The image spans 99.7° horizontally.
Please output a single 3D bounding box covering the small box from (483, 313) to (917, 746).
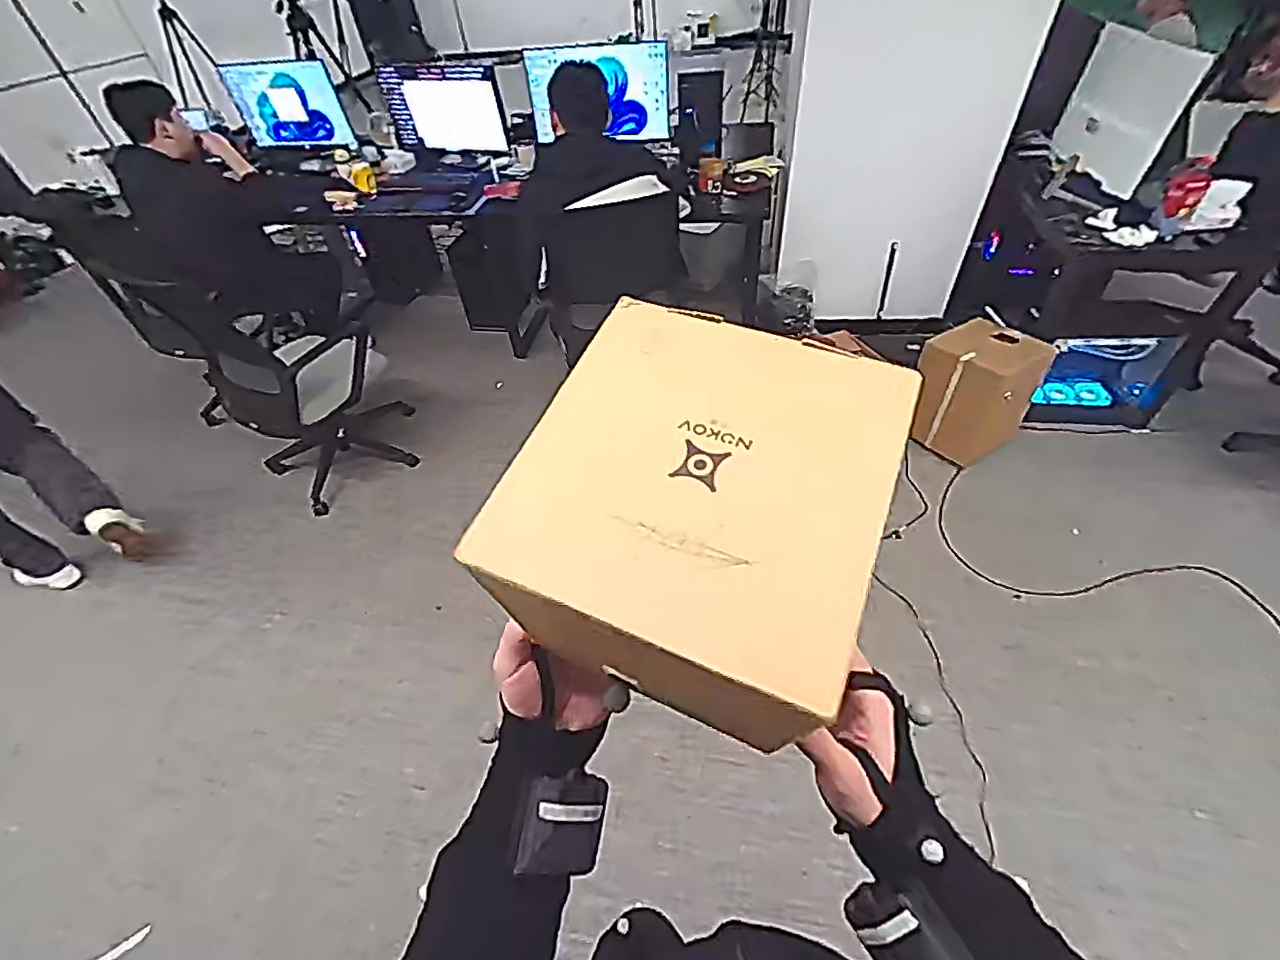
[{"bbox_3d":[0.039,0.037,0.329,0.168,0.176,0.179,19,63,14],"label":"small box"}]
